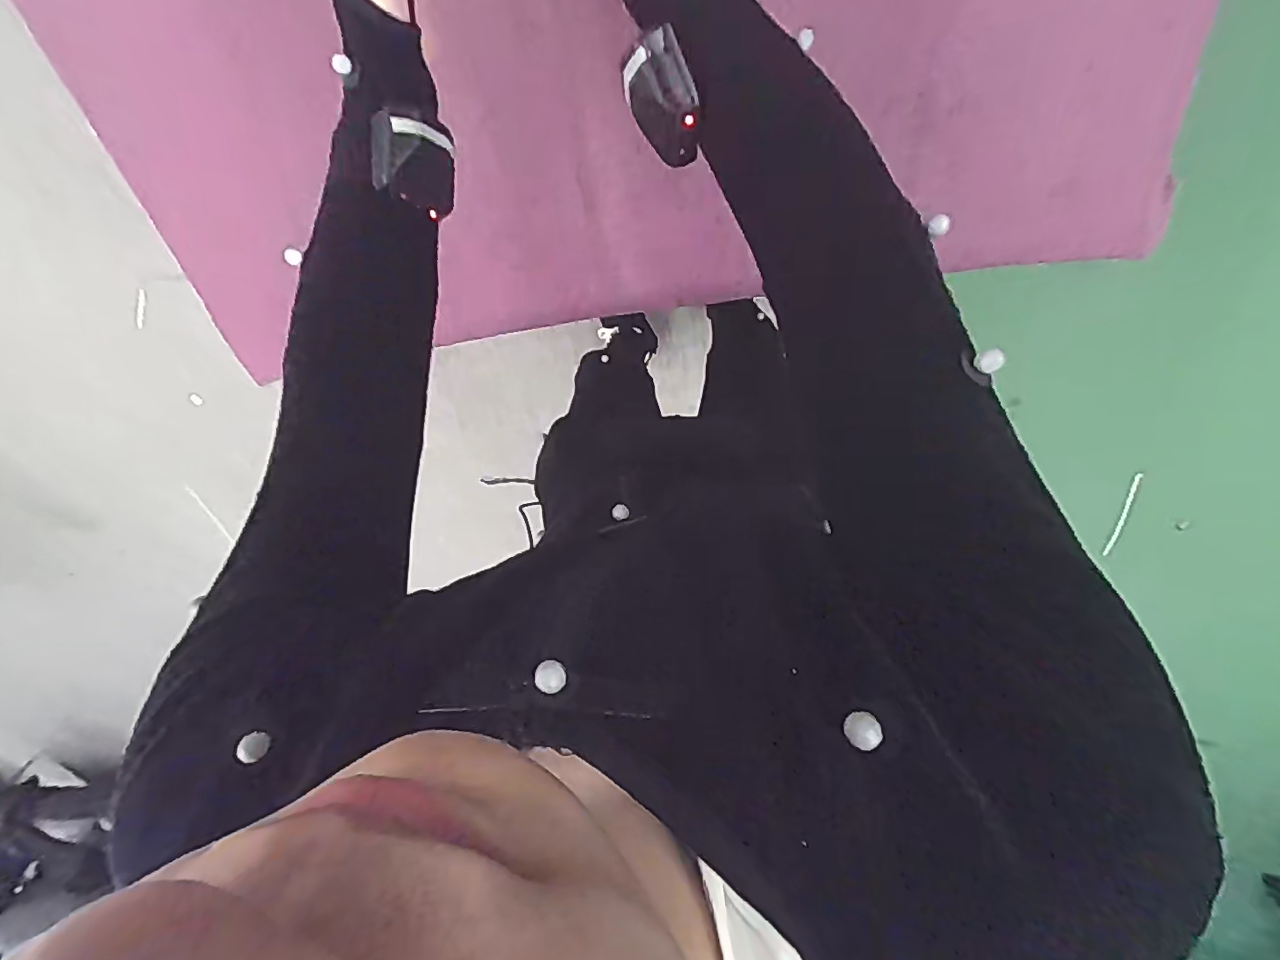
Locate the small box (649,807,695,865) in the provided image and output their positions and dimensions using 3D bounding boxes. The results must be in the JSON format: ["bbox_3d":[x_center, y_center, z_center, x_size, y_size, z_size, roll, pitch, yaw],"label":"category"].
[{"bbox_3d":[0.131,1.431,2.144,0.168,0.176,0.179,-2,123,9],"label":"small box"}]

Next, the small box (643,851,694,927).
[{"bbox_3d":[0.112,1.519,2.009,0.168,0.176,0.179,-2,122,10],"label":"small box"}]
